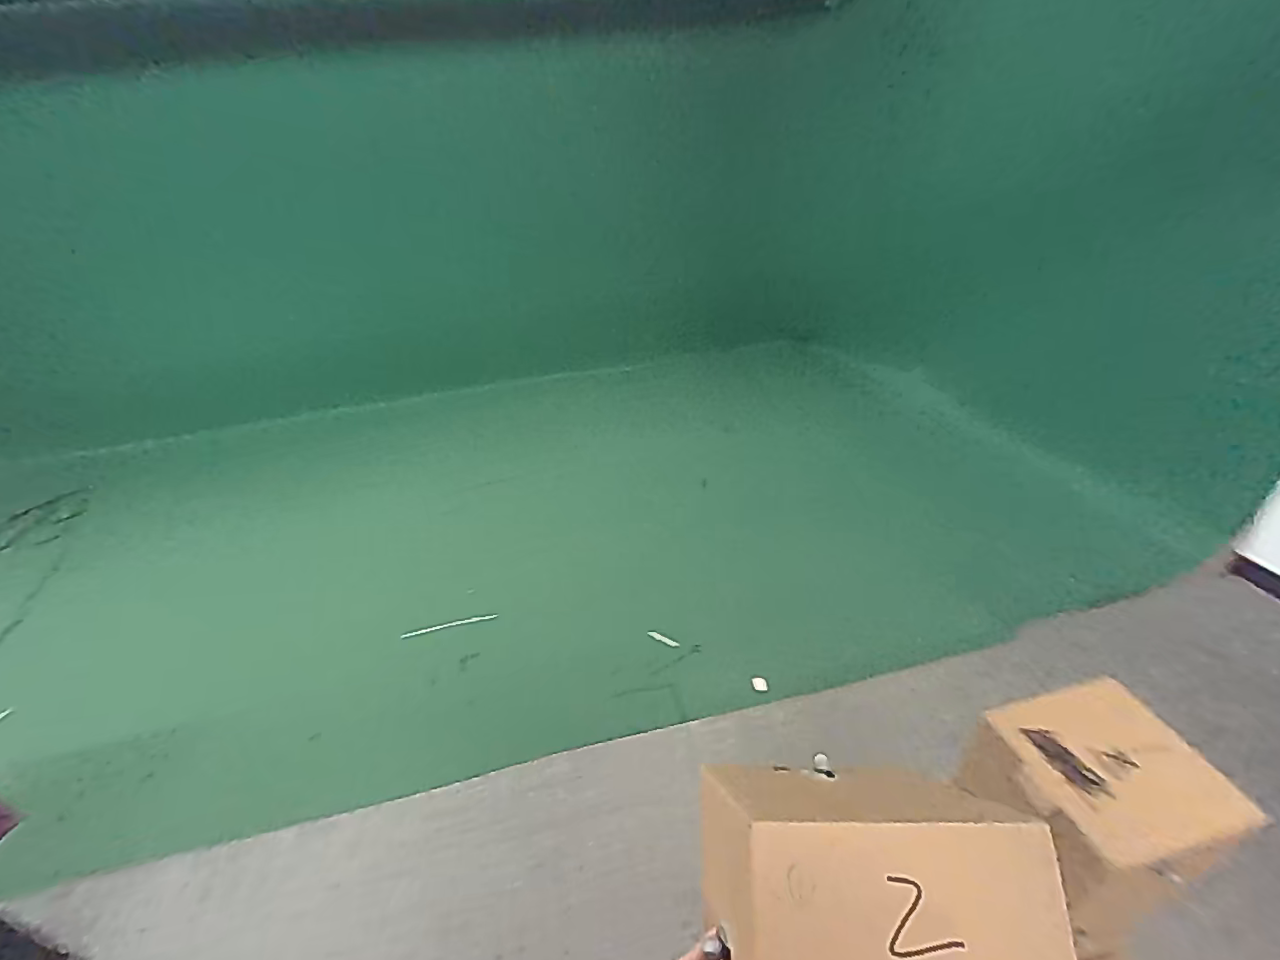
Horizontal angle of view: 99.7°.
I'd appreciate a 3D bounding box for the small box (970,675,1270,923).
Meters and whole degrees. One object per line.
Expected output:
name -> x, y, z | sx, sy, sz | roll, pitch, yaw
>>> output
small box -> 0.510, 0.358, 0.612 | 0.179, 0.176, 0.168 | -11, 35, -8
